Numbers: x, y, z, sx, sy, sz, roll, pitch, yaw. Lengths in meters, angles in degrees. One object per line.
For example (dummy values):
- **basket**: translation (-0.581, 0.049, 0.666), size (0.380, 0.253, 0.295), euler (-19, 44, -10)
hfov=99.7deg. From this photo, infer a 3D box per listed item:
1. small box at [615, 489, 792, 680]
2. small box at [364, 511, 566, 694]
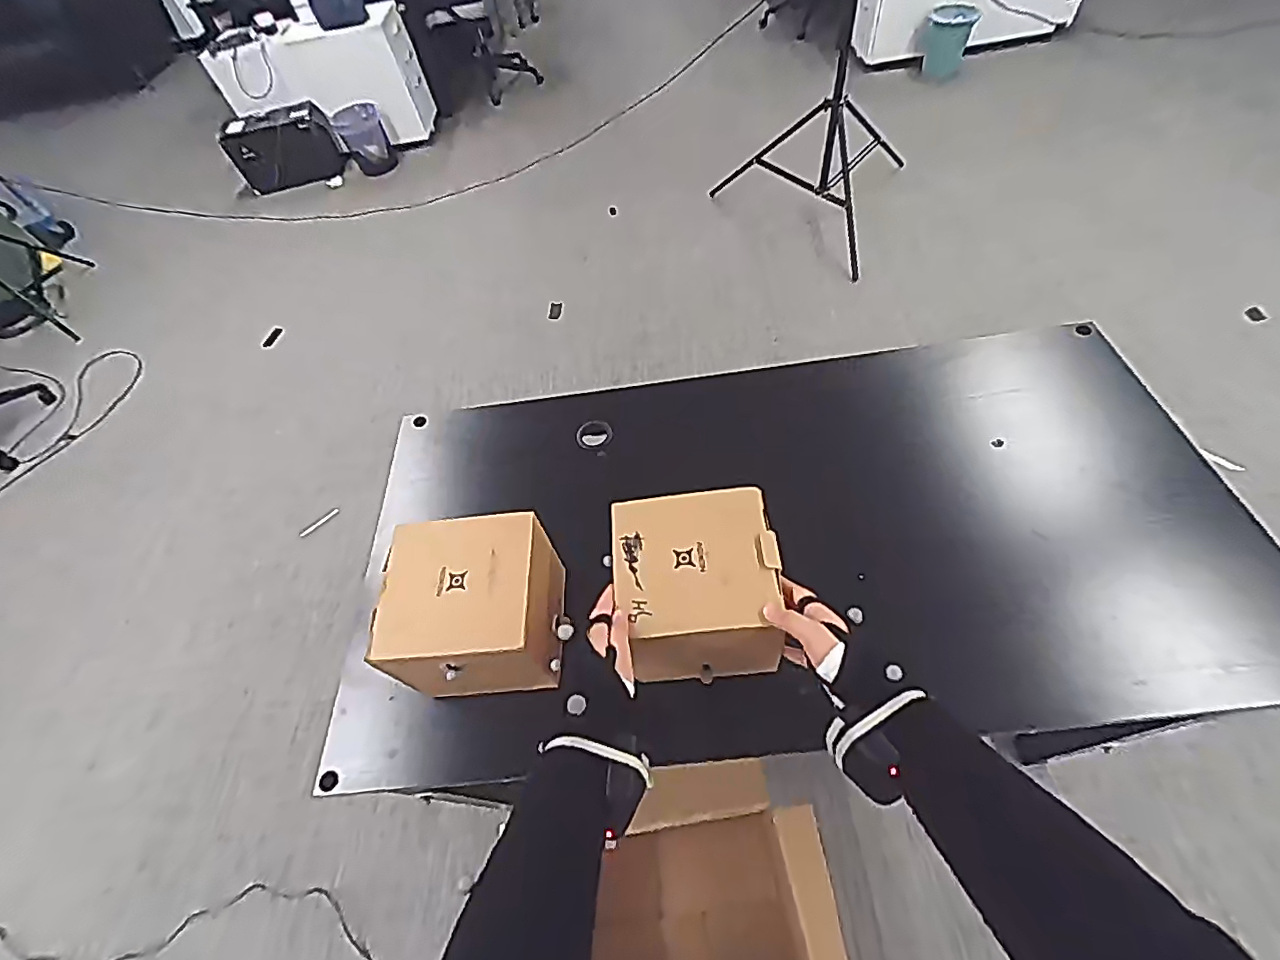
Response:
- **small box**: translation (0.068, 0.129, 0.644), size (0.179, 0.176, 0.168), euler (-6, 55, 4)
- **small box**: translation (-0.197, 0.157, 0.664), size (0.179, 0.176, 0.168), euler (-6, 56, 3)
